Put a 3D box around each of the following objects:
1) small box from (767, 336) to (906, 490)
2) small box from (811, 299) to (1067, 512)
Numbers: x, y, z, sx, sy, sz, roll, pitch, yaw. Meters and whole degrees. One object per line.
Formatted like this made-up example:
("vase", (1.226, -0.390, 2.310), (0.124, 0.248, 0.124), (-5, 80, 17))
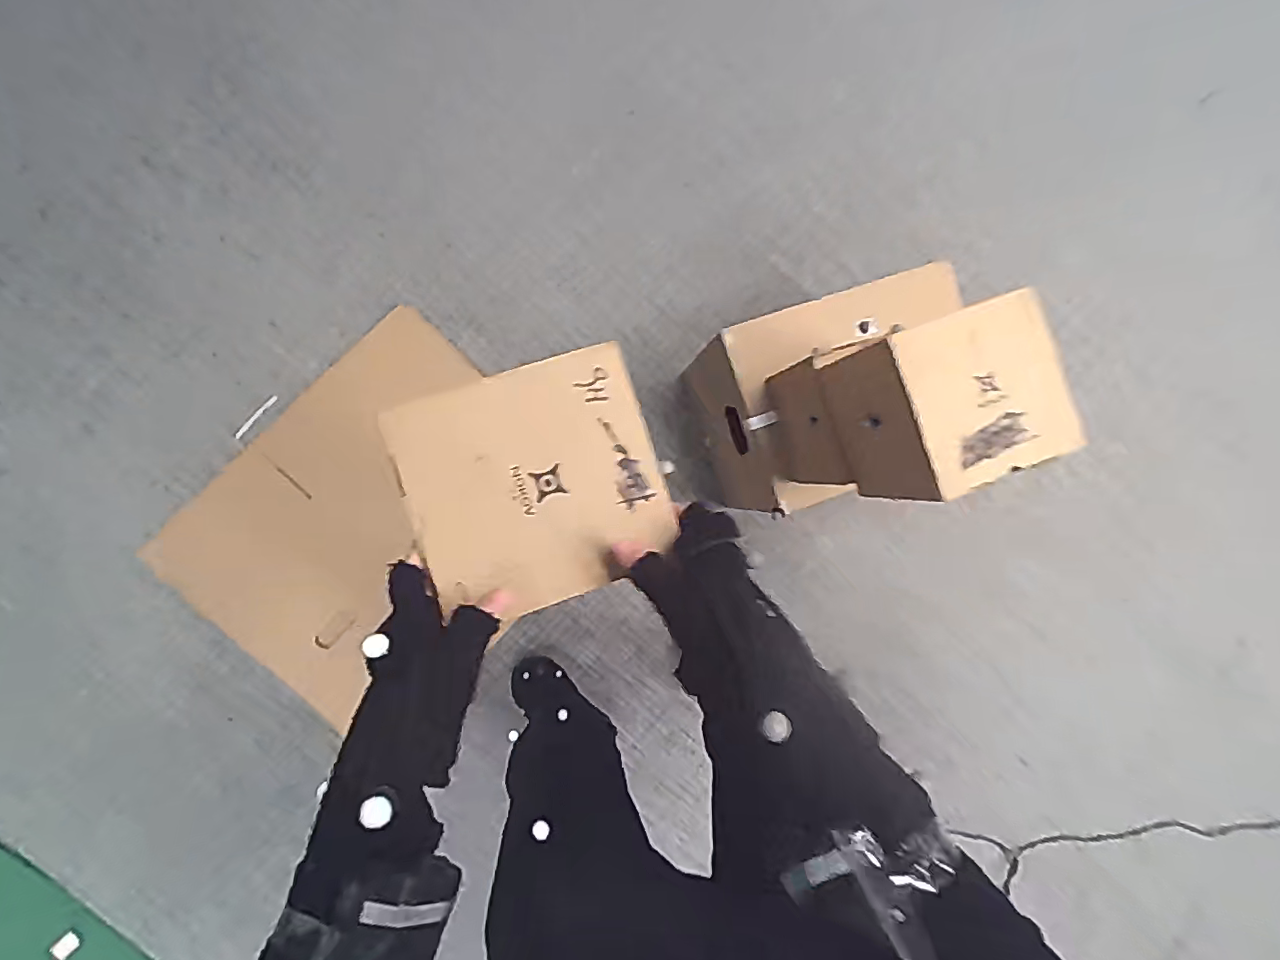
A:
("small box", (0.304, -0.089, 0.792), (0.168, 0.176, 0.179), (-16, 93, -6))
("small box", (0.330, -0.079, 0.630), (0.168, 0.176, 0.179), (-24, 93, -5))
